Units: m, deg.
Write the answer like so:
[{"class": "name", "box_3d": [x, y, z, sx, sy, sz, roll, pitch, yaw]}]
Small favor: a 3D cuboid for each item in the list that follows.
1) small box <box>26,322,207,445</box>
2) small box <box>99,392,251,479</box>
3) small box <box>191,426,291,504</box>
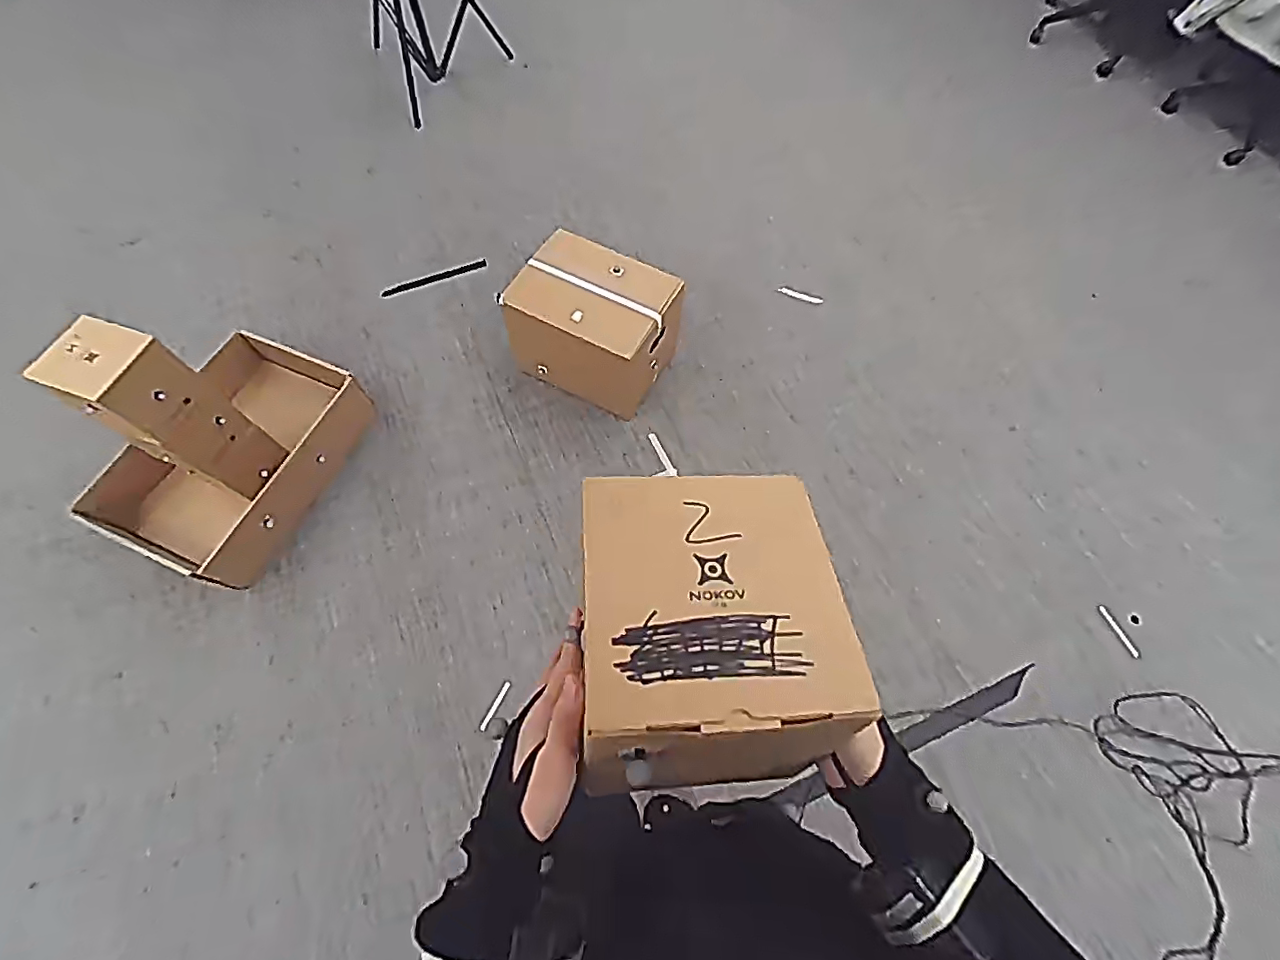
[{"class": "small box", "box_3d": [-1.079, -0.194, 1.135, 0.179, 0.176, 0.168, 17, 64, 6]}, {"class": "small box", "box_3d": [-1.086, -0.121, 1.284, 0.179, 0.176, 0.168, 17, 65, 8]}, {"class": "small box", "box_3d": [-1.085, -0.057, 1.433, 0.179, 0.176, 0.168, 22, 67, 8]}]
